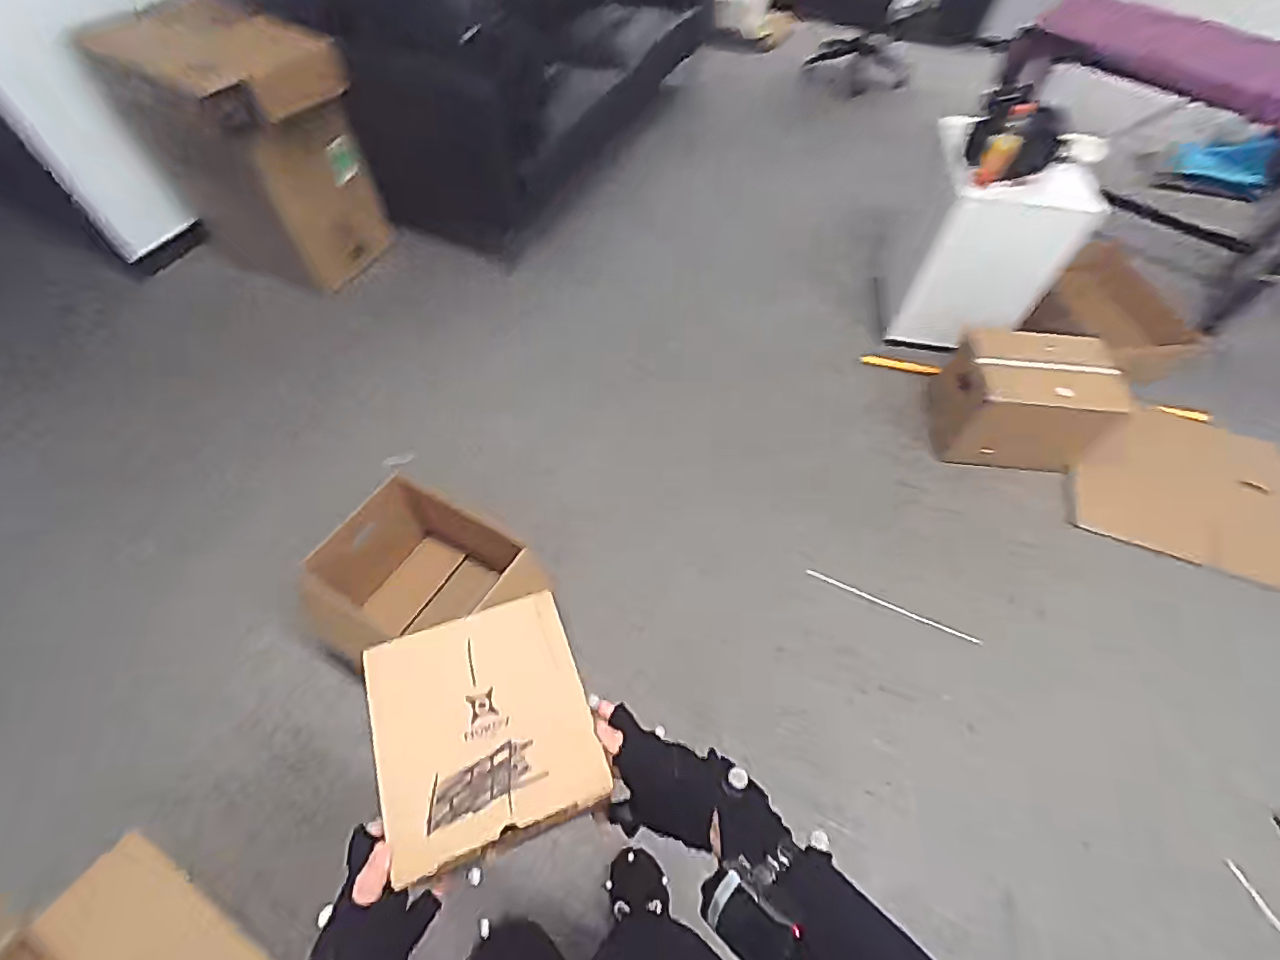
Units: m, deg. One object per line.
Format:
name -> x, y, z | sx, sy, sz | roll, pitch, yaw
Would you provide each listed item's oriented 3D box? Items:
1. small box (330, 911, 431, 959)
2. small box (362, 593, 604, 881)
small box -> -0.207, 0.436, 0.330 | 0.168, 0.179, 0.176 | 46, 108, 5
small box -> -0.138, 0.239, 0.509 | 0.168, 0.176, 0.179 | -17, 57, -17
